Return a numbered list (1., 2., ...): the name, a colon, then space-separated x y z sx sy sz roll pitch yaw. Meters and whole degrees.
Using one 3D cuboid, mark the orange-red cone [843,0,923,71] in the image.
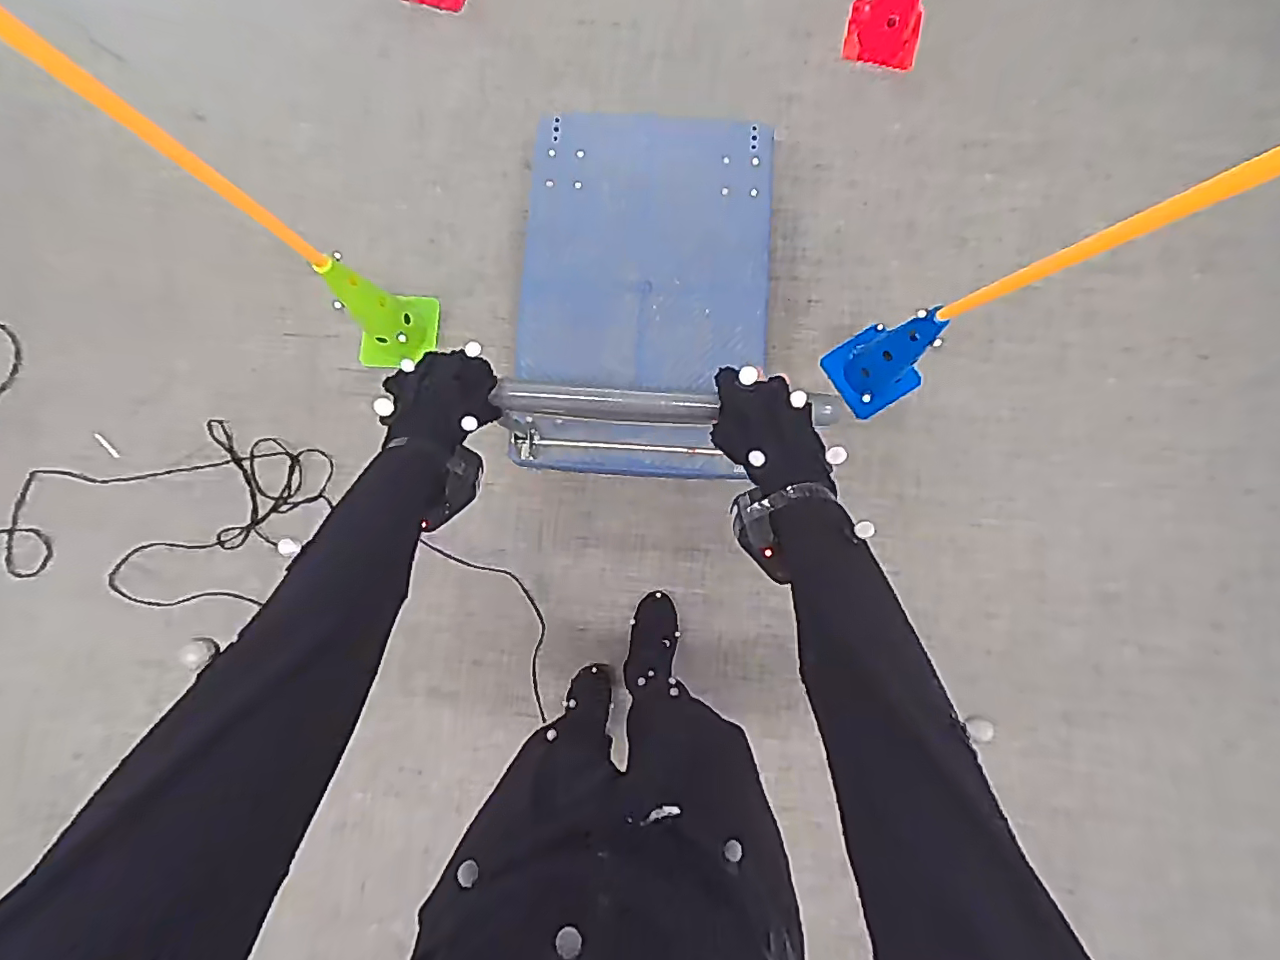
1. orange-red cone: 0.680 -1.273 1.355 0.198 0.360 0.199 15 84 4
